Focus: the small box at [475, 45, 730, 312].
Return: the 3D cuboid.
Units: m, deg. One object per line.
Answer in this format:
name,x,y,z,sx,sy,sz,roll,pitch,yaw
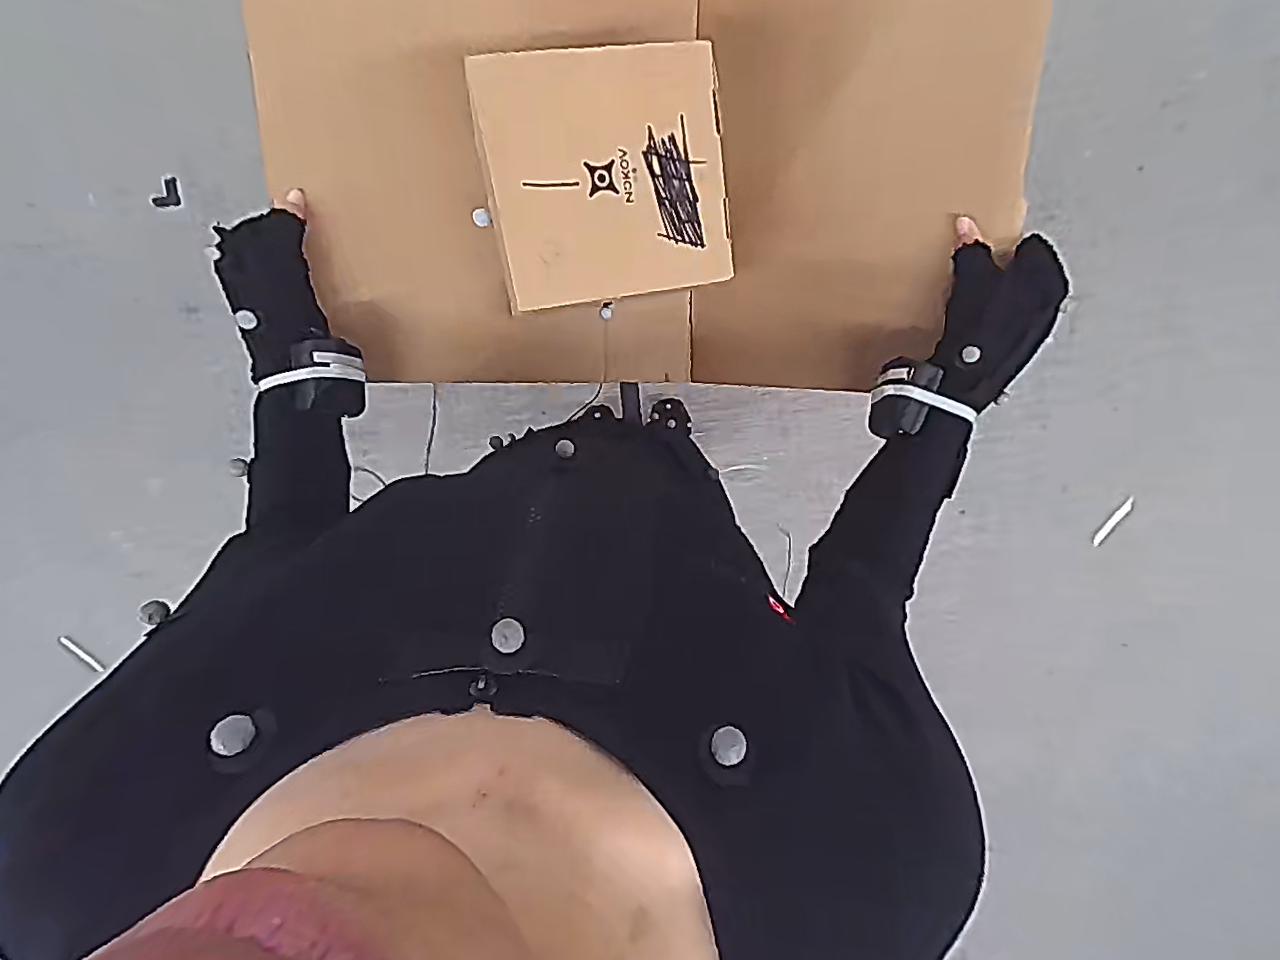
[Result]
small box,-0.039,-0.247,0.480,0.179,0.176,0.168,-13,107,-10
